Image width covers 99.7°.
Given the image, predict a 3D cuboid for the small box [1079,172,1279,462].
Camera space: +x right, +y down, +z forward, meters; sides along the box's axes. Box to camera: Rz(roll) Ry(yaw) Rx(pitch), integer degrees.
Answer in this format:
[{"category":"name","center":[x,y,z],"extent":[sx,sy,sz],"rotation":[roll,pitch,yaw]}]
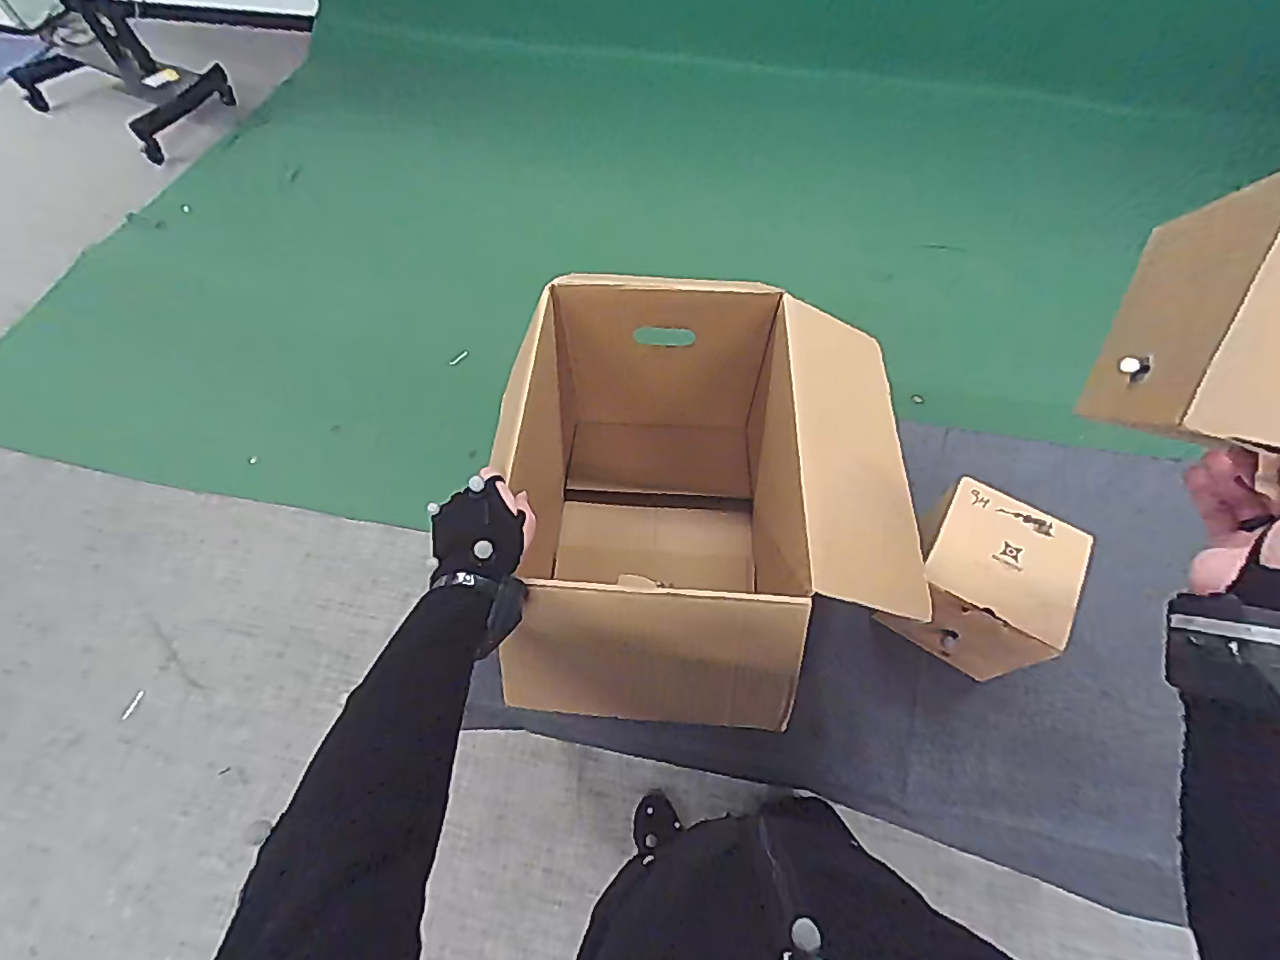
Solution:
[{"category":"small box","center":[0.488,-0.109,0.415],"extent":[0.168,0.176,0.179],"rotation":[17,105,13]}]
